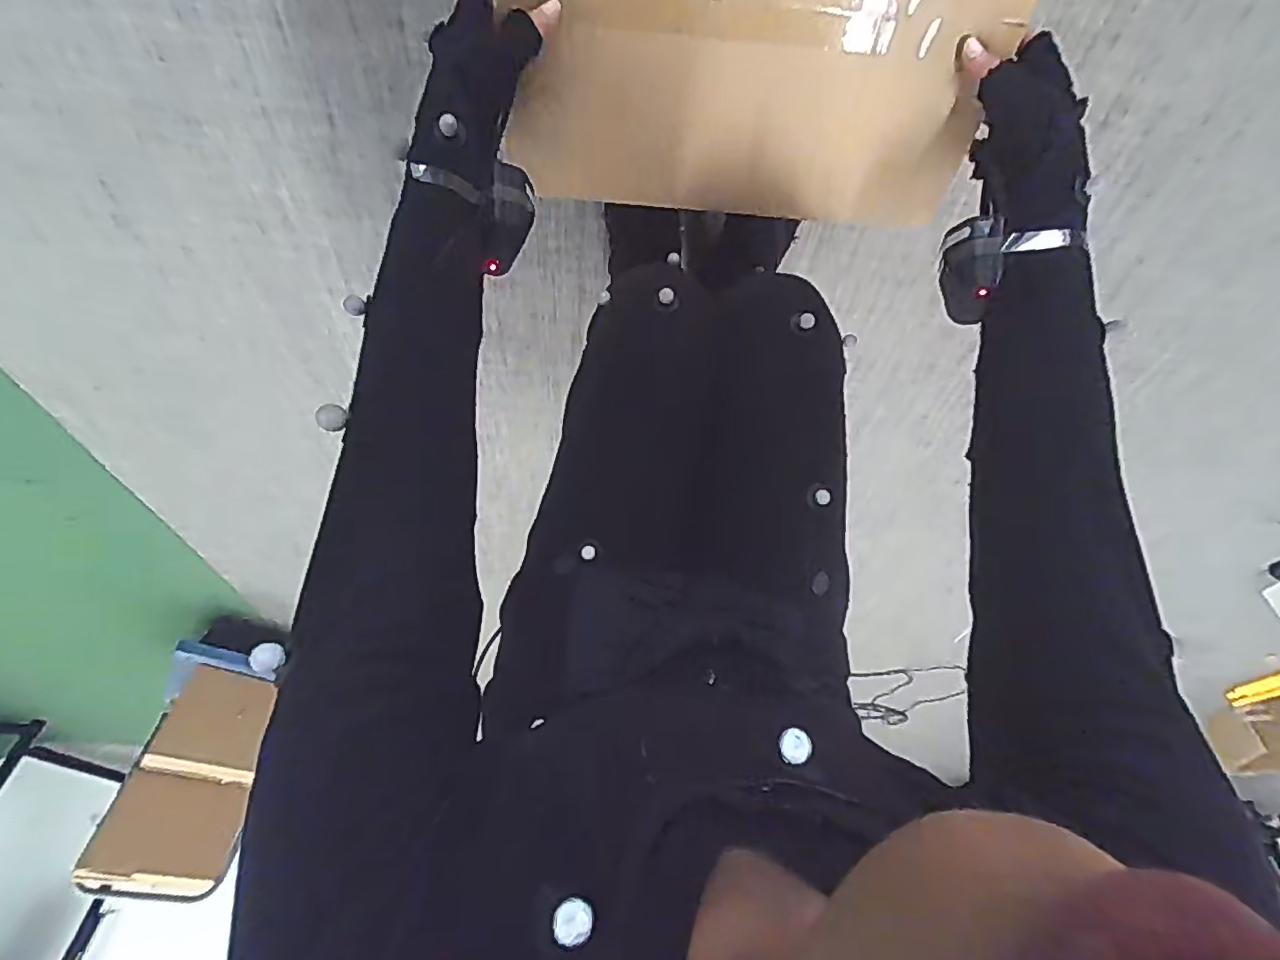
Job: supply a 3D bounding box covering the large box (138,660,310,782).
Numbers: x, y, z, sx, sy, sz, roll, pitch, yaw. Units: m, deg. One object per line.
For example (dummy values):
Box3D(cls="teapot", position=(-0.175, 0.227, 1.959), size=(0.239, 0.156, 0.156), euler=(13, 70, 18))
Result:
Box3D(cls="large box", position=(-1.554, 0.915, 2.038), size=(0.408, 0.320, 0.320), euler=(30, 134, -28))
